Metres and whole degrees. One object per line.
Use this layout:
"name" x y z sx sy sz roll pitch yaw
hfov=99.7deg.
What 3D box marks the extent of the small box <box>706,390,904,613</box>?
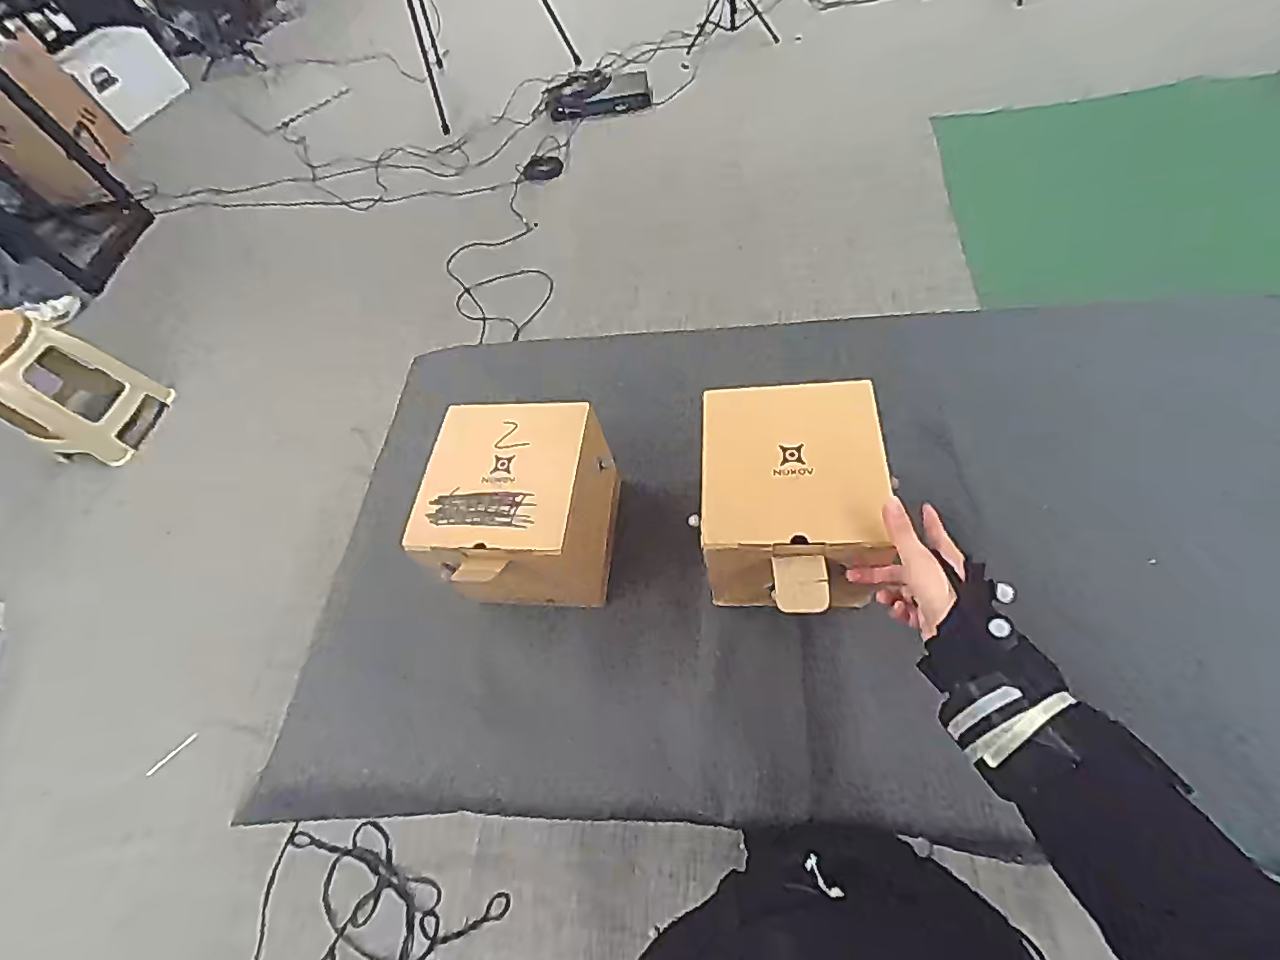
"small box" 0.156 0.028 0.567 0.168 0.176 0.179 -2 60 10
